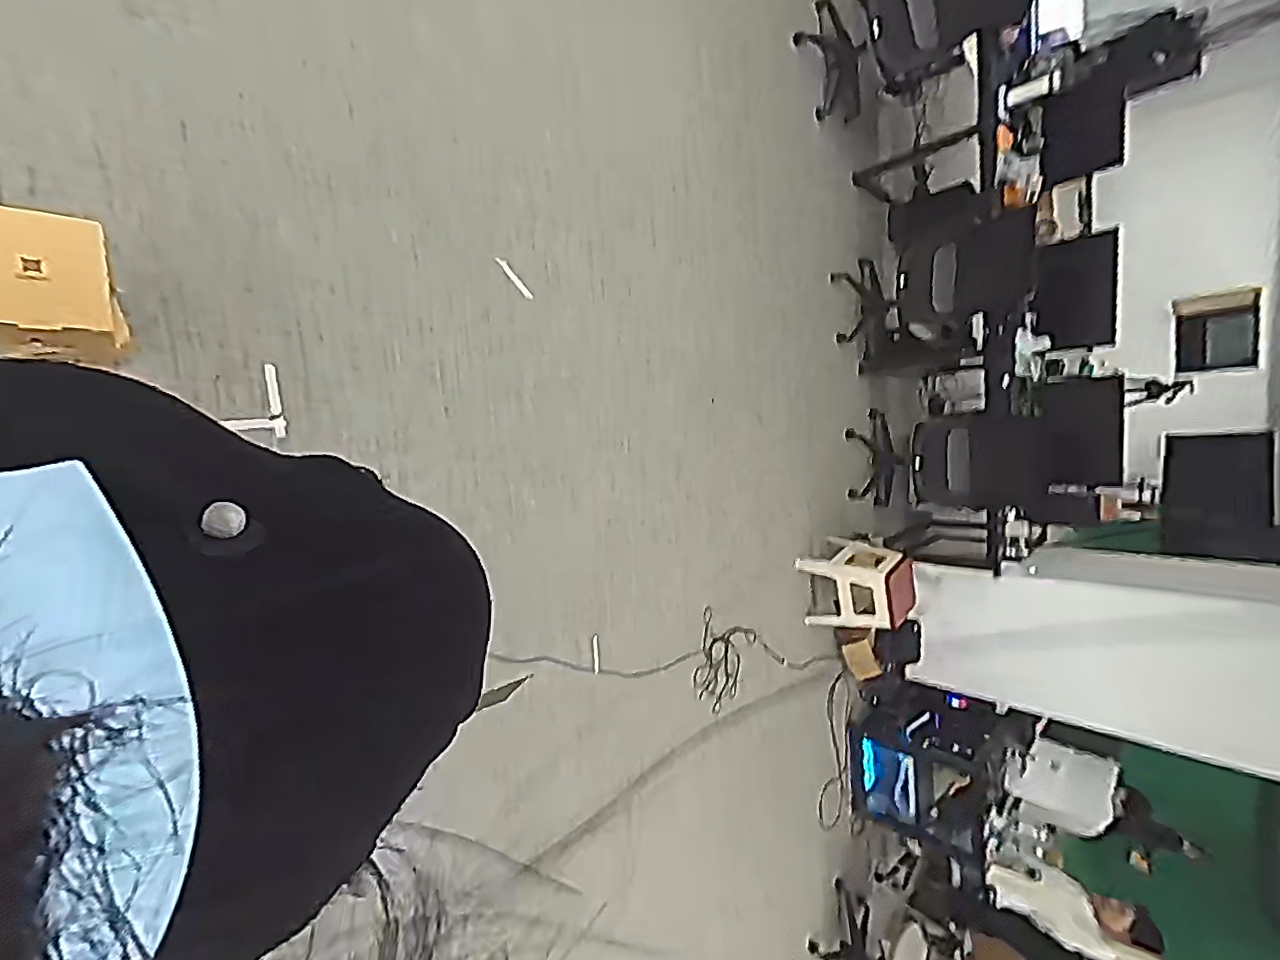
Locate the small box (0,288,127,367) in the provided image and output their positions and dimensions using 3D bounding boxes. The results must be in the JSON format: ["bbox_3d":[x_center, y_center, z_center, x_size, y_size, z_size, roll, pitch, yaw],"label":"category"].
[{"bbox_3d":[-1.073,-0.314,0.980,0.168,0.176,0.179,-23,107,-41],"label":"small box"}]

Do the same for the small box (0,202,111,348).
[{"bbox_3d":[-0.965,-0.318,0.858,0.168,0.176,0.179,-7,96,-44],"label":"small box"}]
